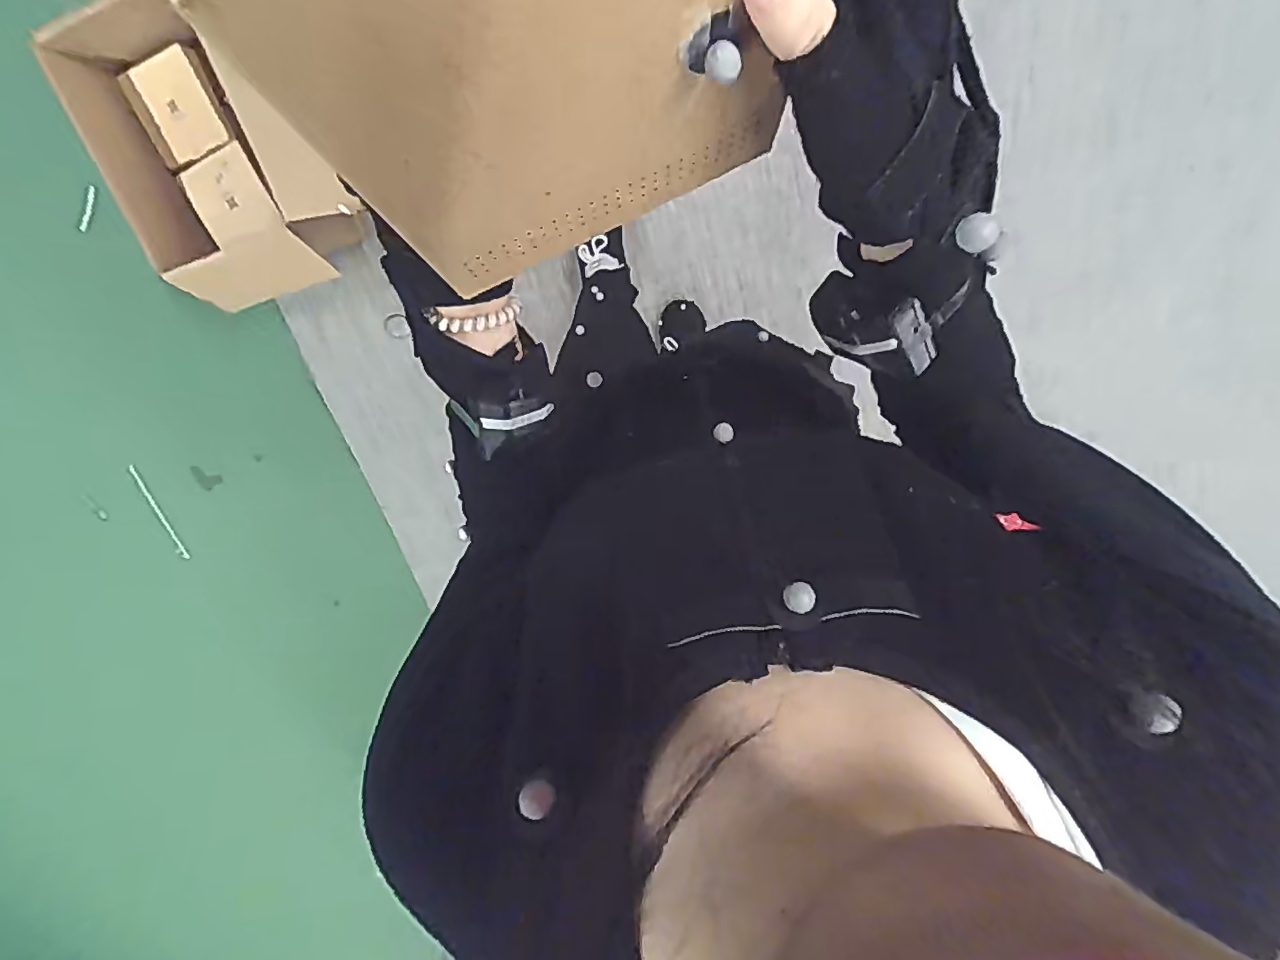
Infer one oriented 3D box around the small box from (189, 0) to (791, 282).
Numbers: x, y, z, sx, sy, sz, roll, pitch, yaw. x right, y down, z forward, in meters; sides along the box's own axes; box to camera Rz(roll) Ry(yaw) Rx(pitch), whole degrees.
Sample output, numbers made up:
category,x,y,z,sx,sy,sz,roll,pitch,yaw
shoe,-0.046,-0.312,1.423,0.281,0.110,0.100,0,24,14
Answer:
category,x,y,z,sx,sy,sz,roll,pitch,yaw
small box,-0.052,-0.209,0.204,0.179,0.176,0.168,-26,87,2
